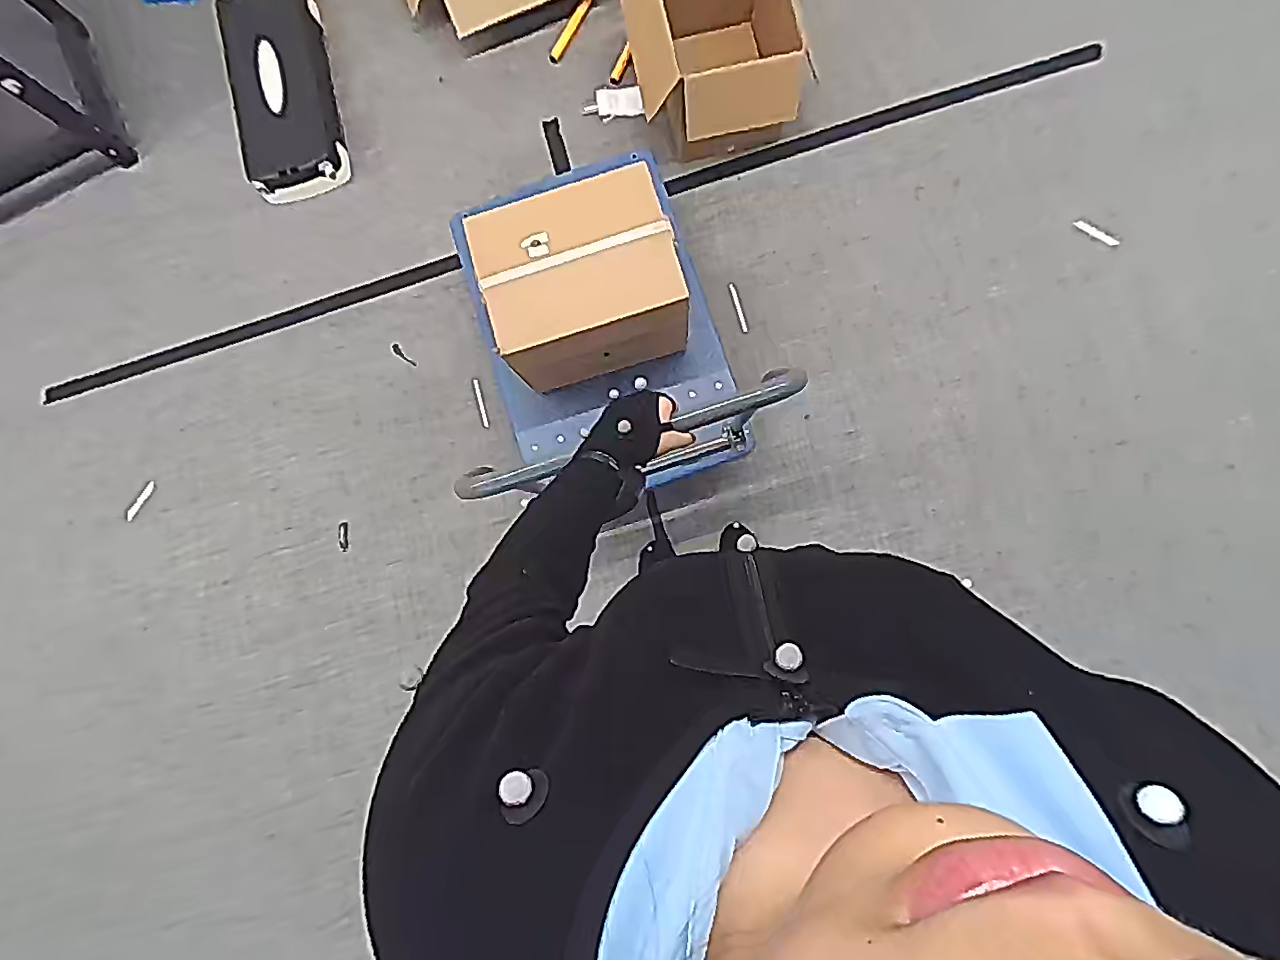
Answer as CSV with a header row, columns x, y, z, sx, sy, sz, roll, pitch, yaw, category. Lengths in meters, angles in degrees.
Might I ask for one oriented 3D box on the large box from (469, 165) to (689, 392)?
x,y,z,sx,sy,sz,roll,pitch,yaw,category
-0.121,-0.442,1.268,0.408,0.320,0.320,-17,82,3,large box
